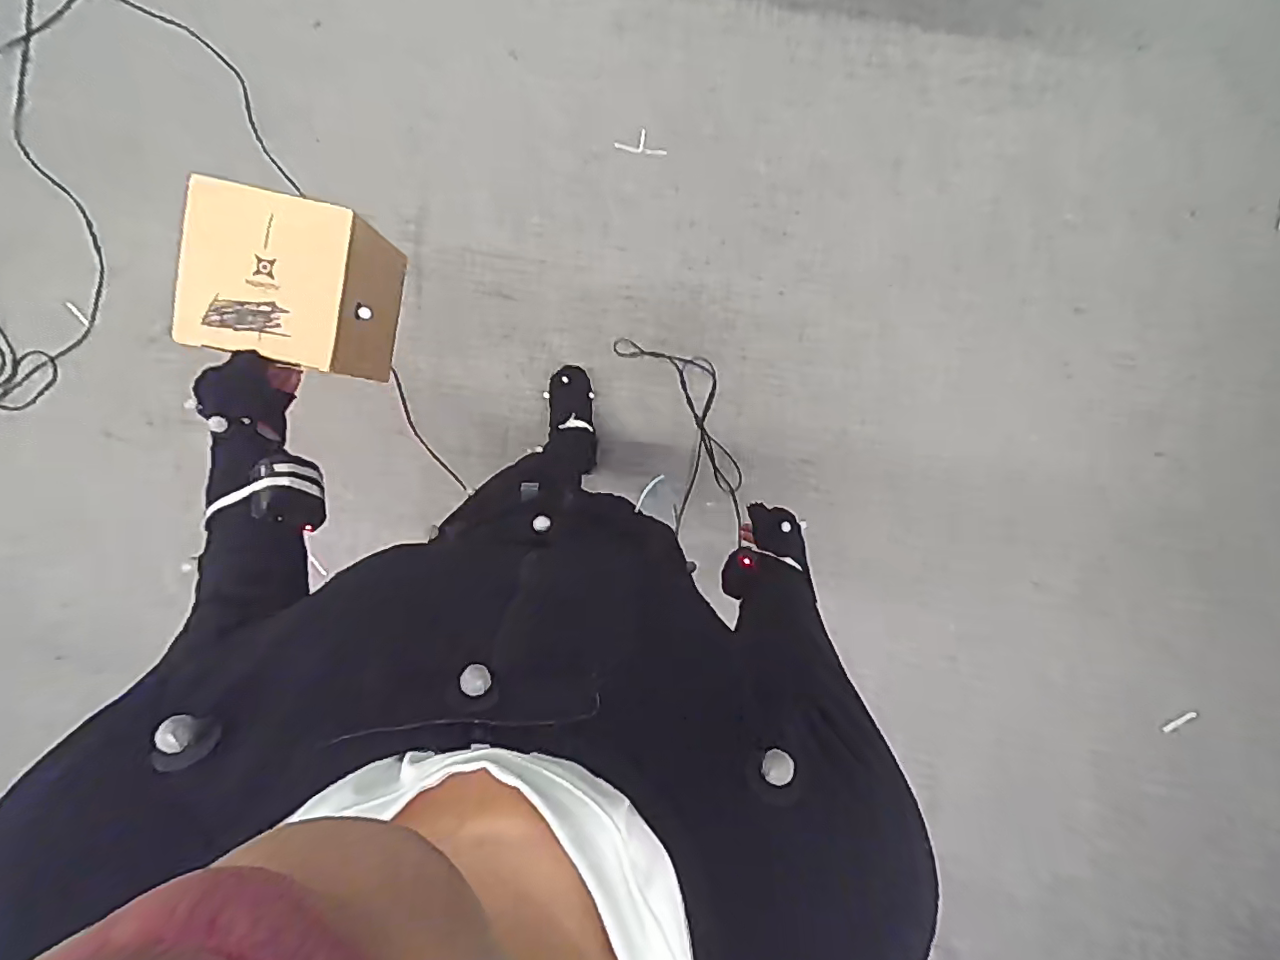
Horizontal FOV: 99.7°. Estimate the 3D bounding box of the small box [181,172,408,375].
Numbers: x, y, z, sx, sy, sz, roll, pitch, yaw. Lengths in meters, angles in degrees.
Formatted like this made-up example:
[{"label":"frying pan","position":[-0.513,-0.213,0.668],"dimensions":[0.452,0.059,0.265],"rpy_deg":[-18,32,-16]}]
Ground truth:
[{"label":"small box","position":[-0.402,-0.231,0.658],"dimensions":[0.168,0.176,0.179],"rpy_deg":[11,95,-6]}]
